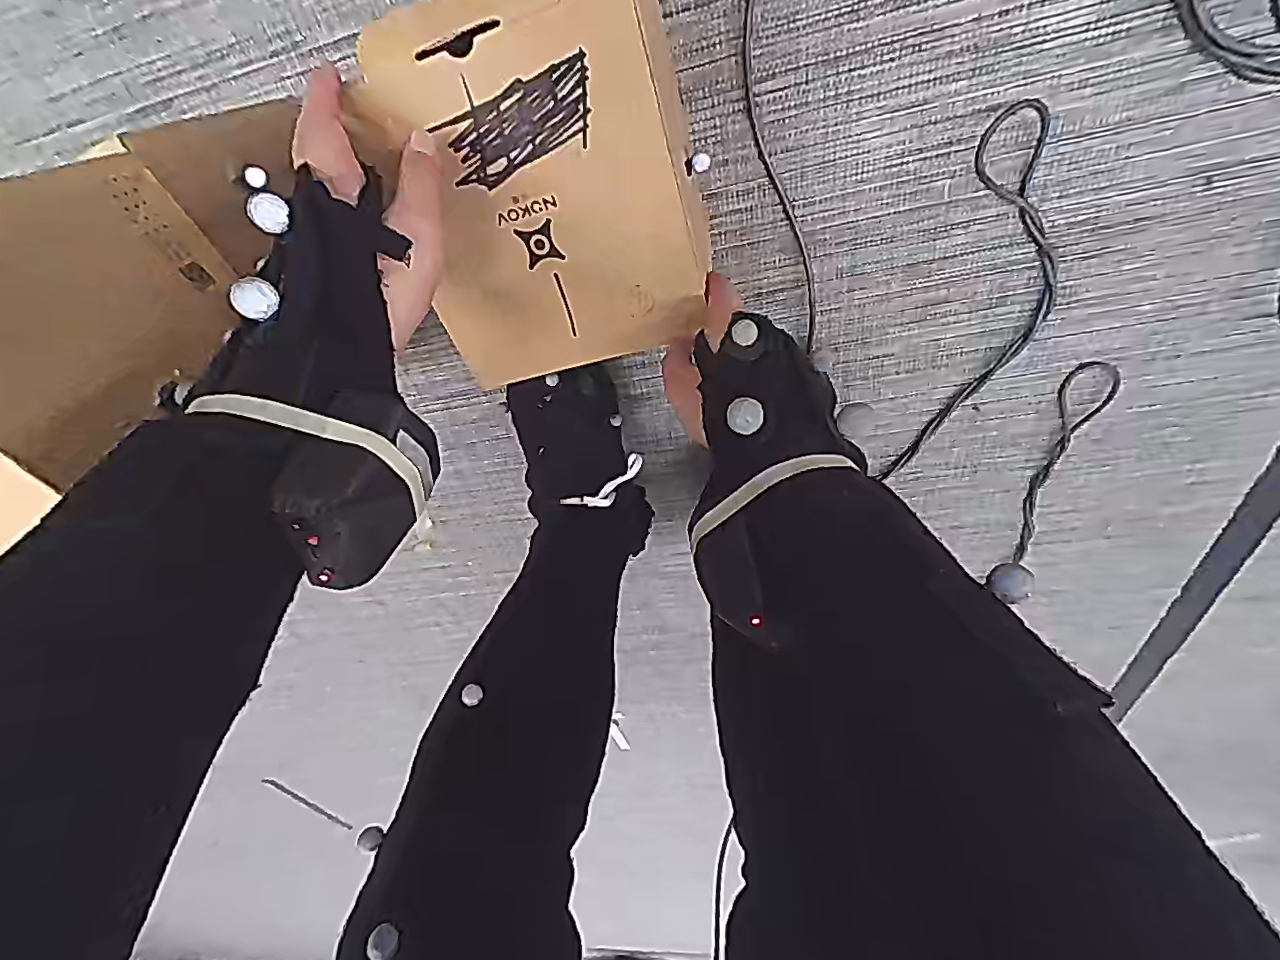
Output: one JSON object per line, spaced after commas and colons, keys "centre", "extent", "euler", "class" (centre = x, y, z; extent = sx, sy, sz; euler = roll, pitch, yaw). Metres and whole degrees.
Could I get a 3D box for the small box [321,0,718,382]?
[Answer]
{"centre": [-0.049, -0.195, 0.353], "extent": [0.168, 0.176, 0.179], "euler": [-10, 130, 15], "class": "small box"}
